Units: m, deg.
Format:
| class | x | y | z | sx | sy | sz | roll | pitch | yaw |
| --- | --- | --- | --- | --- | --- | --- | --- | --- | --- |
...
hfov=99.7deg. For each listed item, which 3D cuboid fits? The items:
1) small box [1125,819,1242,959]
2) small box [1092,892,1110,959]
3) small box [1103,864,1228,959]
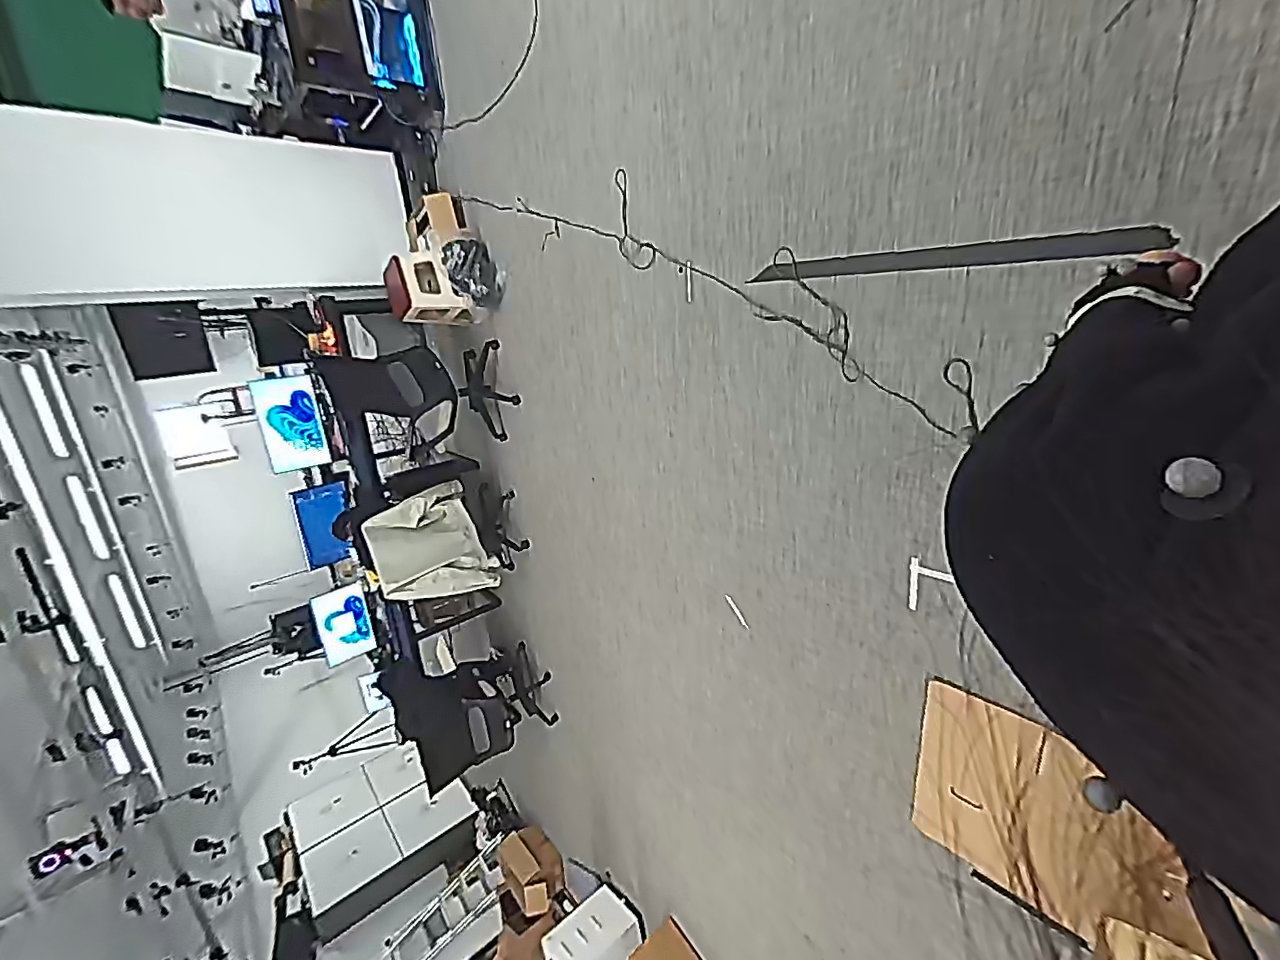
| class | x | y | z | sx | sy | sz | roll | pitch | yaw |
| --- | --- | --- | --- | --- | --- | --- | --- | --- | --- |
| small box | 1.212 | 0.909 | 1.206 | 0.168 | 0.176 | 0.179 | -3 | 101 | 52 |
| small box | 1.219 | 1.170 | 1.310 | 0.168 | 0.176 | 0.179 | 3 | 107 | 50 |
| small box | 1.084 | 0.956 | 1.113 | 0.168 | 0.176 | 0.179 | -3 | 102 | 50 |
